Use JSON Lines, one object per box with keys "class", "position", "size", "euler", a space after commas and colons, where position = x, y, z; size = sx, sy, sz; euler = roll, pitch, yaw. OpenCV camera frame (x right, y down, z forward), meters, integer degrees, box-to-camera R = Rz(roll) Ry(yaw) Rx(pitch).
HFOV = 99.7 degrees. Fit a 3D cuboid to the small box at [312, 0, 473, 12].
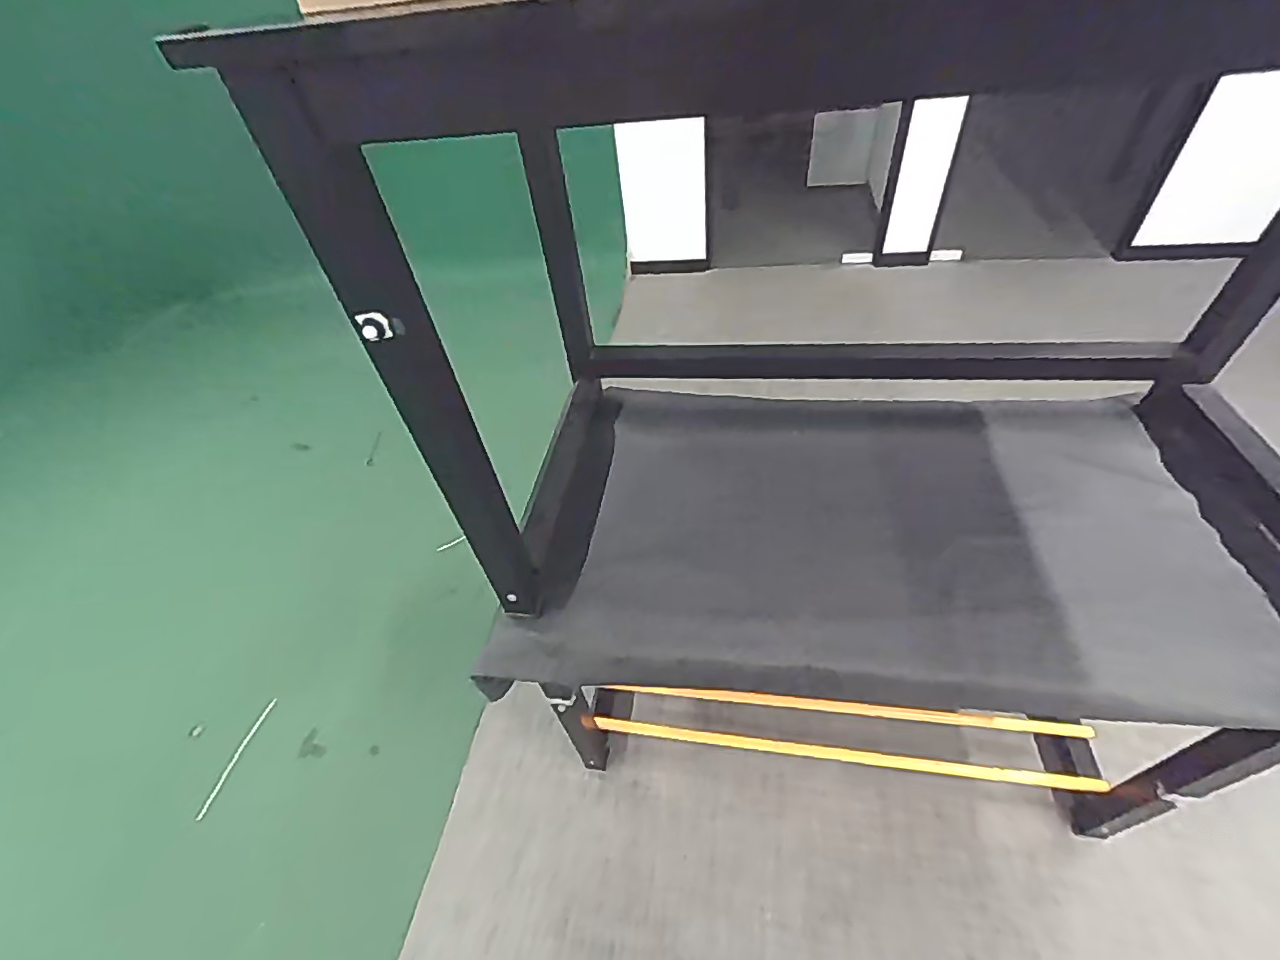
{"class": "small box", "position": [-0.163, -0.446, 0.376], "size": [0.168, 0.176, 0.179], "euler": [-2, 45, 5]}
